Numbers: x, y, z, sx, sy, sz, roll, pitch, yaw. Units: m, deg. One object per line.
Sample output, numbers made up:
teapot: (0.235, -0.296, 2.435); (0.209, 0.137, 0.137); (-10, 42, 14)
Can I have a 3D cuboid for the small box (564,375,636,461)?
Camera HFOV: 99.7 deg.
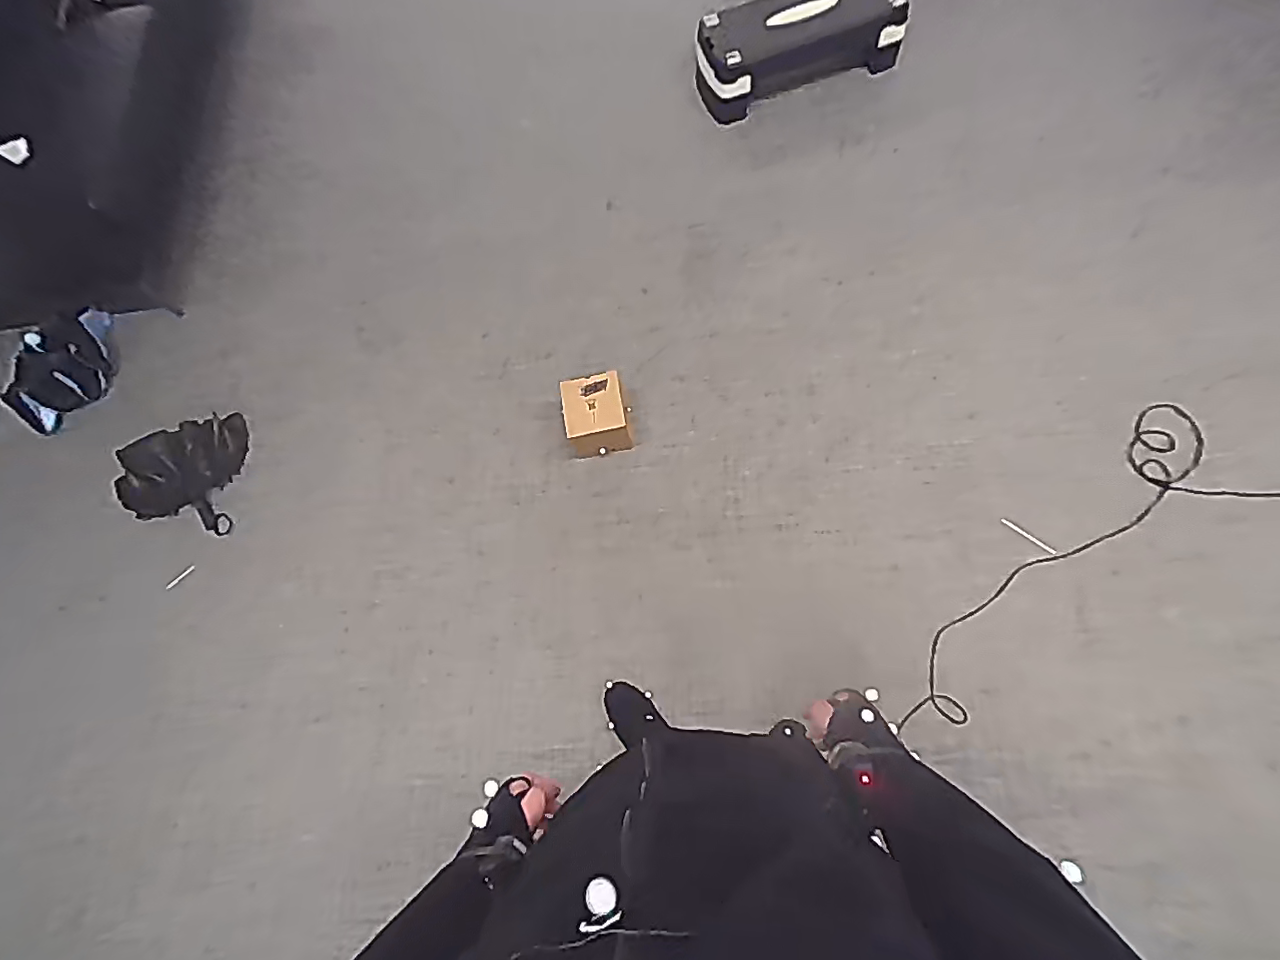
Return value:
small box: (-0.112, -0.174, 1.555); (0.168, 0.176, 0.179); (-12, 71, 4)
